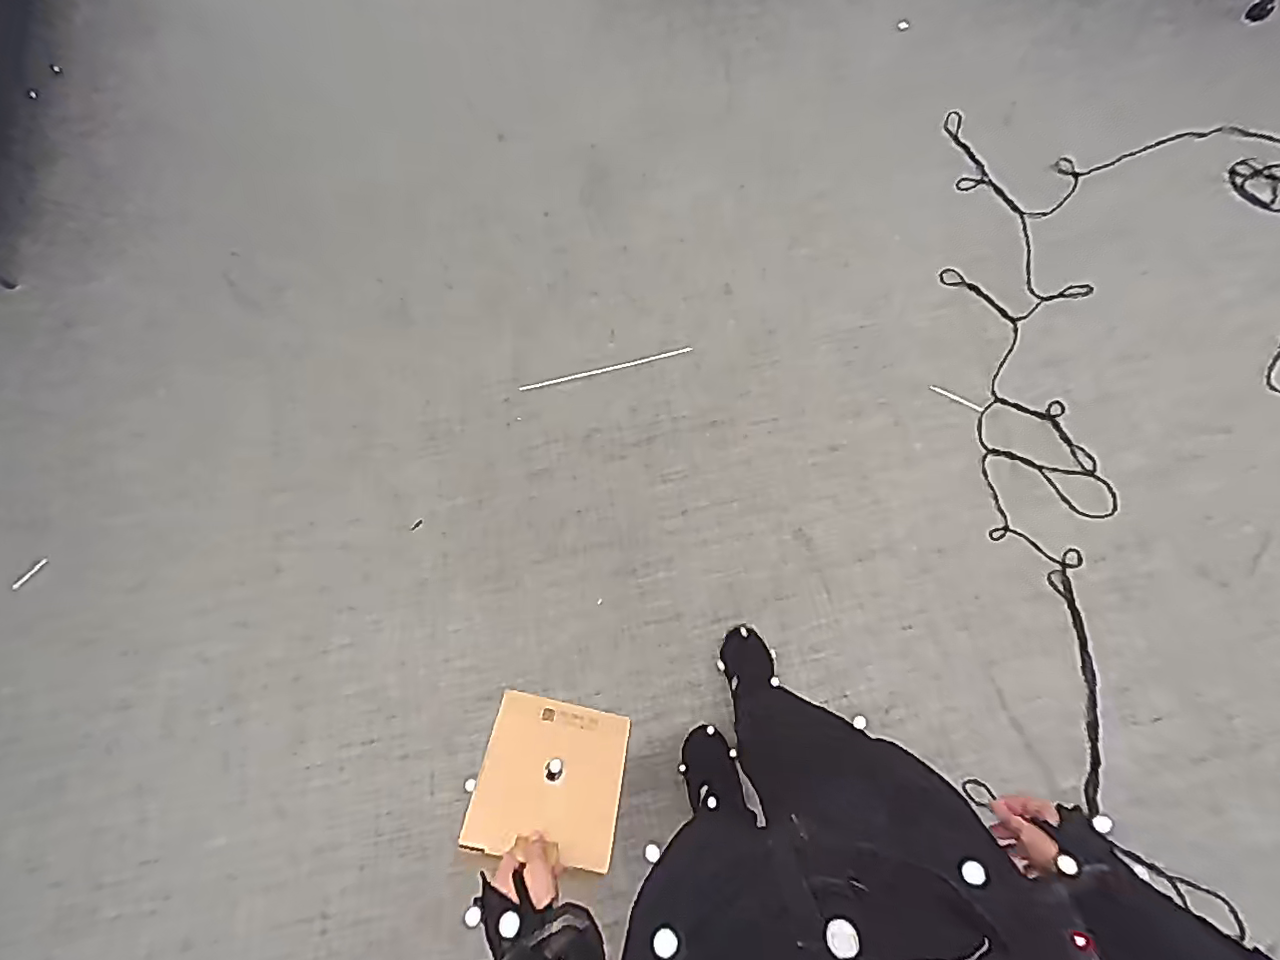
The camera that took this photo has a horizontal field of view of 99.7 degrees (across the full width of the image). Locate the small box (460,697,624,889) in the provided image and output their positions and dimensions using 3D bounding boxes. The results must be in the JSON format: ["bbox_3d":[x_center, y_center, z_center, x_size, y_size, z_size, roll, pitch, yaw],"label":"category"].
[{"bbox_3d":[-0.121,0.397,0.687,0.168,0.179,0.176,14,47,-5],"label":"small box"}]
